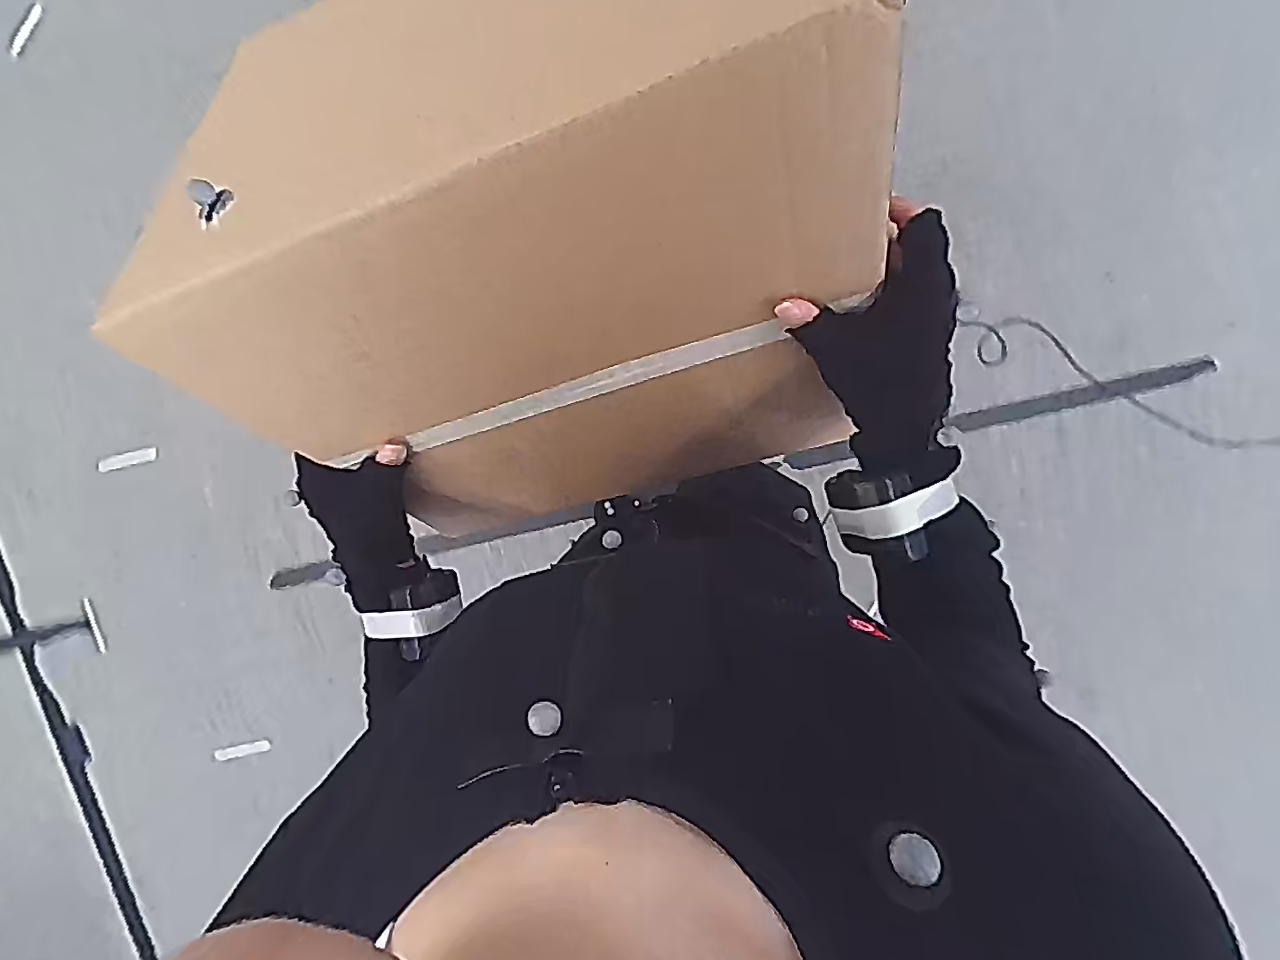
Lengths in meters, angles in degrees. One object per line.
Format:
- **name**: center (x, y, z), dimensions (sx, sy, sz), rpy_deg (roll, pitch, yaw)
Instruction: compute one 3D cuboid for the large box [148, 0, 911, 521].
- **large box**: center (-0.053, -0.200, 0.447), dimensions (0.408, 0.320, 0.320), rpy_deg (-13, 60, 13)
